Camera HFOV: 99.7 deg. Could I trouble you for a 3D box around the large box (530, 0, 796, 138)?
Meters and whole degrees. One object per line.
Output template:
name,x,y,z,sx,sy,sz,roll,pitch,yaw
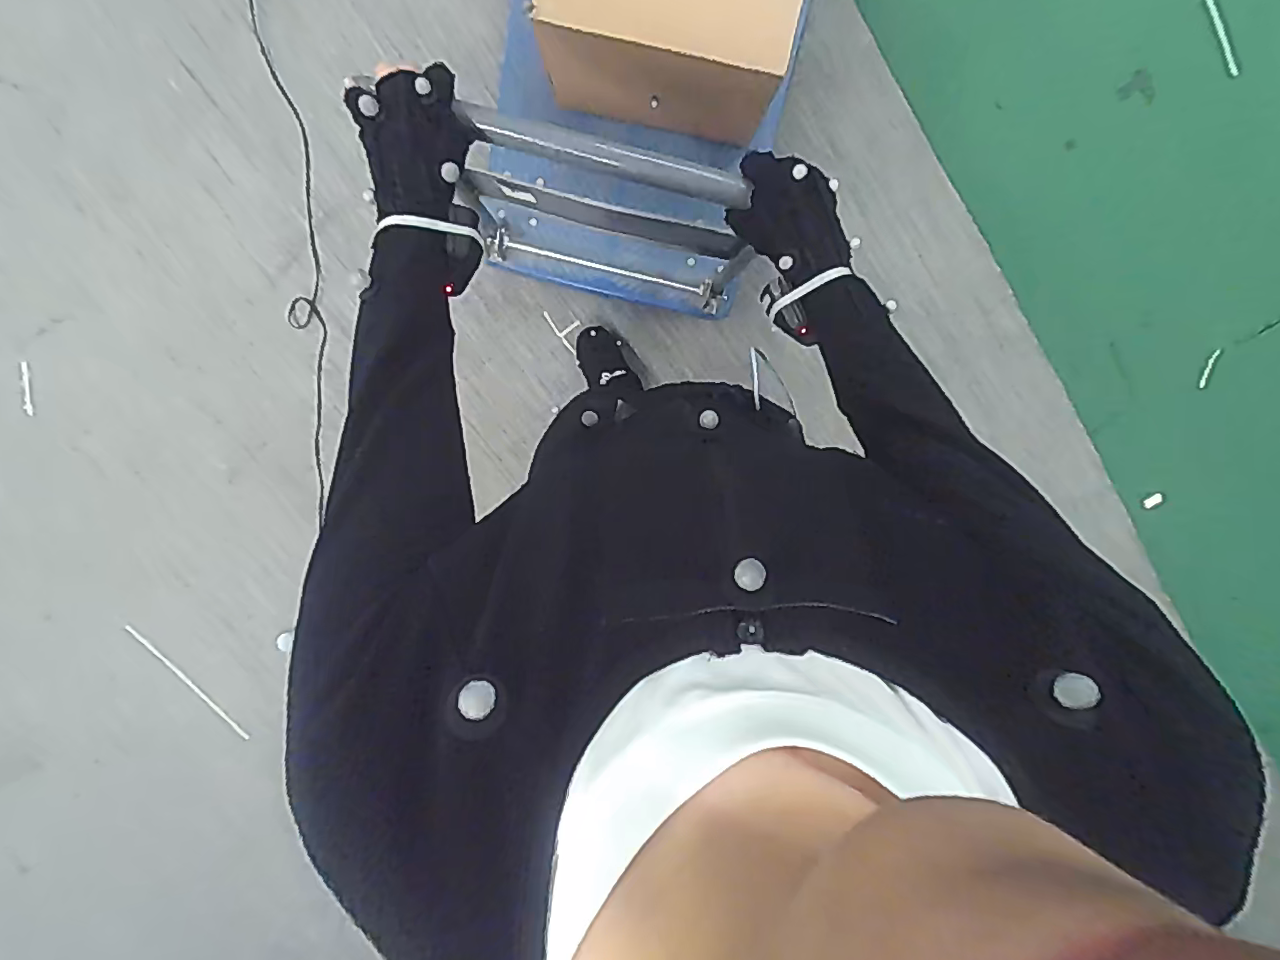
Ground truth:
large box,0.054,-0.851,0.943,0.408,0.320,0.320,11,103,-3
